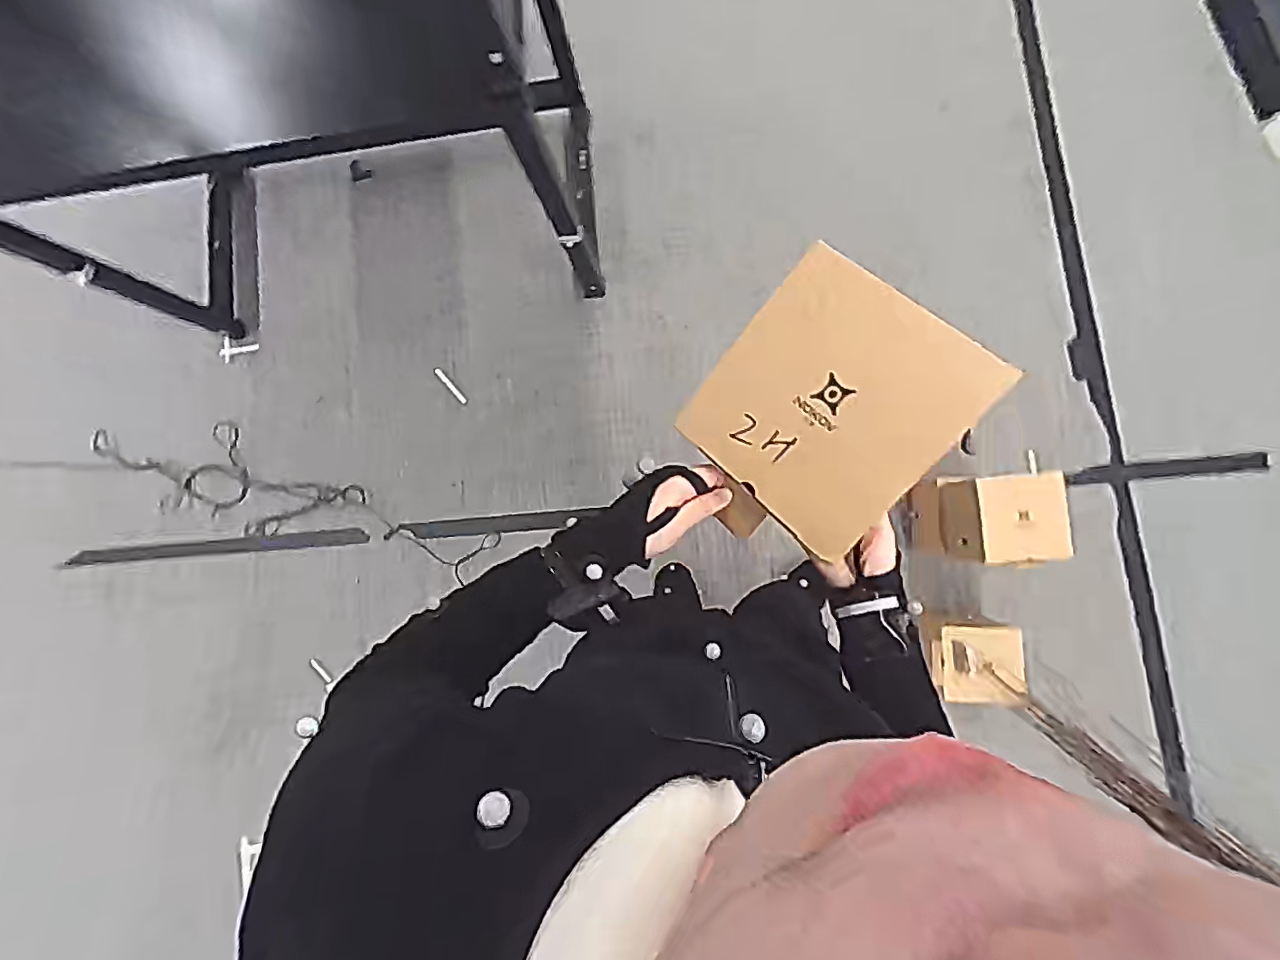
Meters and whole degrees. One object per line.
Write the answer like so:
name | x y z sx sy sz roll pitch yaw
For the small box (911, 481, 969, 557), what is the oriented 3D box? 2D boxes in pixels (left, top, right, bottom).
small box | 0.773 0.093 1.307 0.168 0.176 0.179 0 86 6

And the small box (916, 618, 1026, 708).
small box | 0.772 0.425 1.281 0.179 0.176 0.168 1 86 6

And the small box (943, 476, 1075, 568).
small box | 0.768 0.088 1.143 0.168 0.176 0.179 -4 84 6
